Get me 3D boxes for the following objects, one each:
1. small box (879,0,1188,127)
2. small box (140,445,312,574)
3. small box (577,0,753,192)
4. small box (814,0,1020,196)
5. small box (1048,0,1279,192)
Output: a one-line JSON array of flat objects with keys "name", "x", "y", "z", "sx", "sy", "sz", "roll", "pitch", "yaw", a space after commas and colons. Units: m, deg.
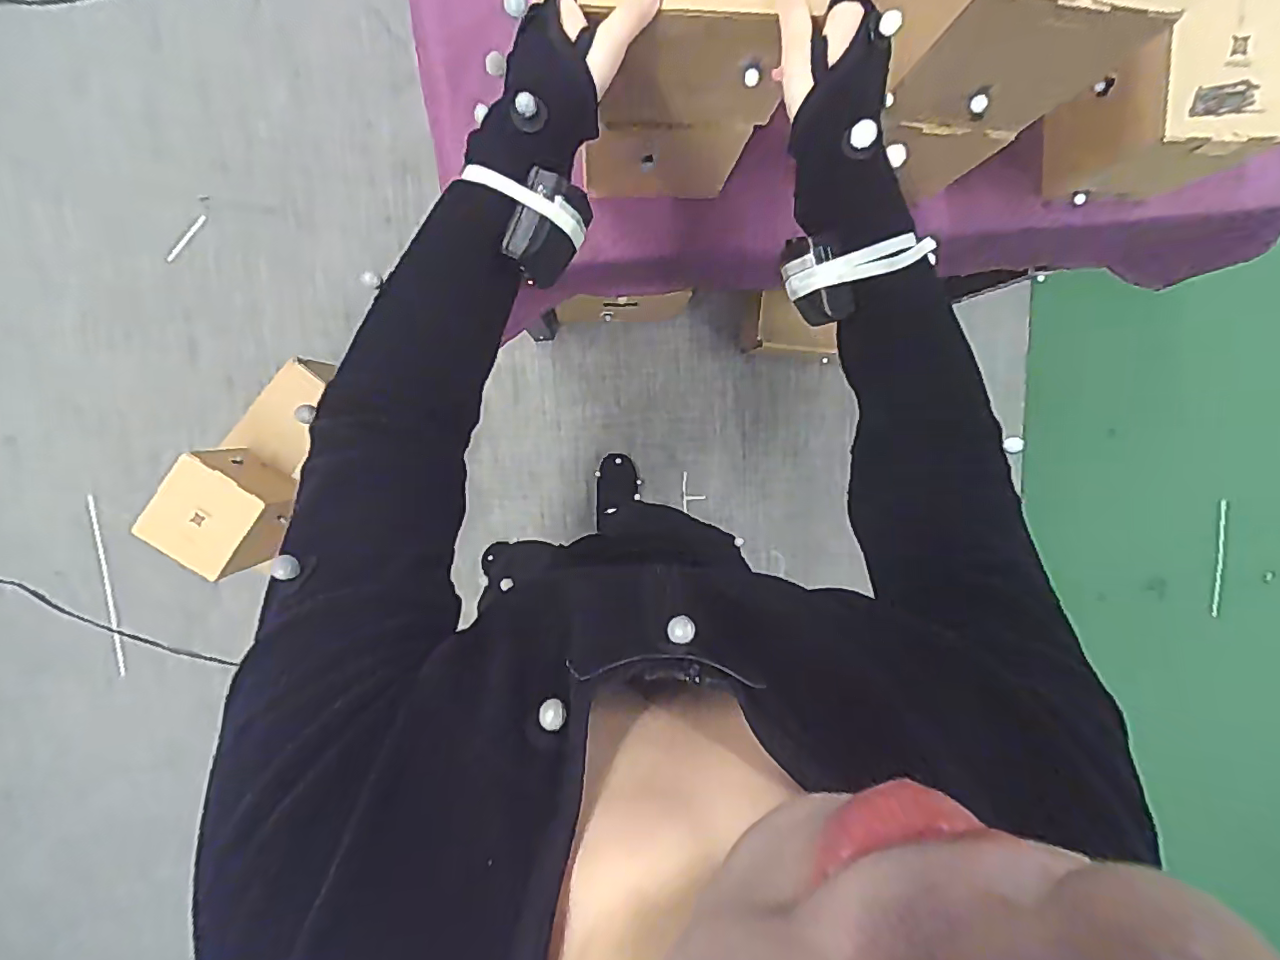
[{"name": "small box", "x": 0.333, "y": -0.452, "z": 0.473, "sx": 0.168, "sy": 0.176, "sz": 0.179, "roll": 4, "pitch": 97, "yaw": -4}, {"name": "small box", "x": -0.770, "y": 0.045, "z": 1.033, "sx": 0.168, "sy": 0.176, "sz": 0.179, "roll": 36, "pitch": 93, "yaw": -6}, {"name": "small box", "x": 0.023, "y": -0.445, "z": 0.615, "sx": 0.179, "sy": 0.176, "sz": 0.168, "roll": -2, "pitch": 98, "yaw": -3}, {"name": "small box", "x": 0.319, "y": -0.465, "z": 0.637, "sx": 0.168, "sy": 0.176, "sz": 0.179, "roll": 2, "pitch": 97, "yaw": -4}, {"name": "small box", "x": 0.640, "y": -0.470, "z": 0.657, "sx": 0.168, "sy": 0.176, "sz": 0.179, "roll": -3, "pitch": 96, "yaw": -4}]
